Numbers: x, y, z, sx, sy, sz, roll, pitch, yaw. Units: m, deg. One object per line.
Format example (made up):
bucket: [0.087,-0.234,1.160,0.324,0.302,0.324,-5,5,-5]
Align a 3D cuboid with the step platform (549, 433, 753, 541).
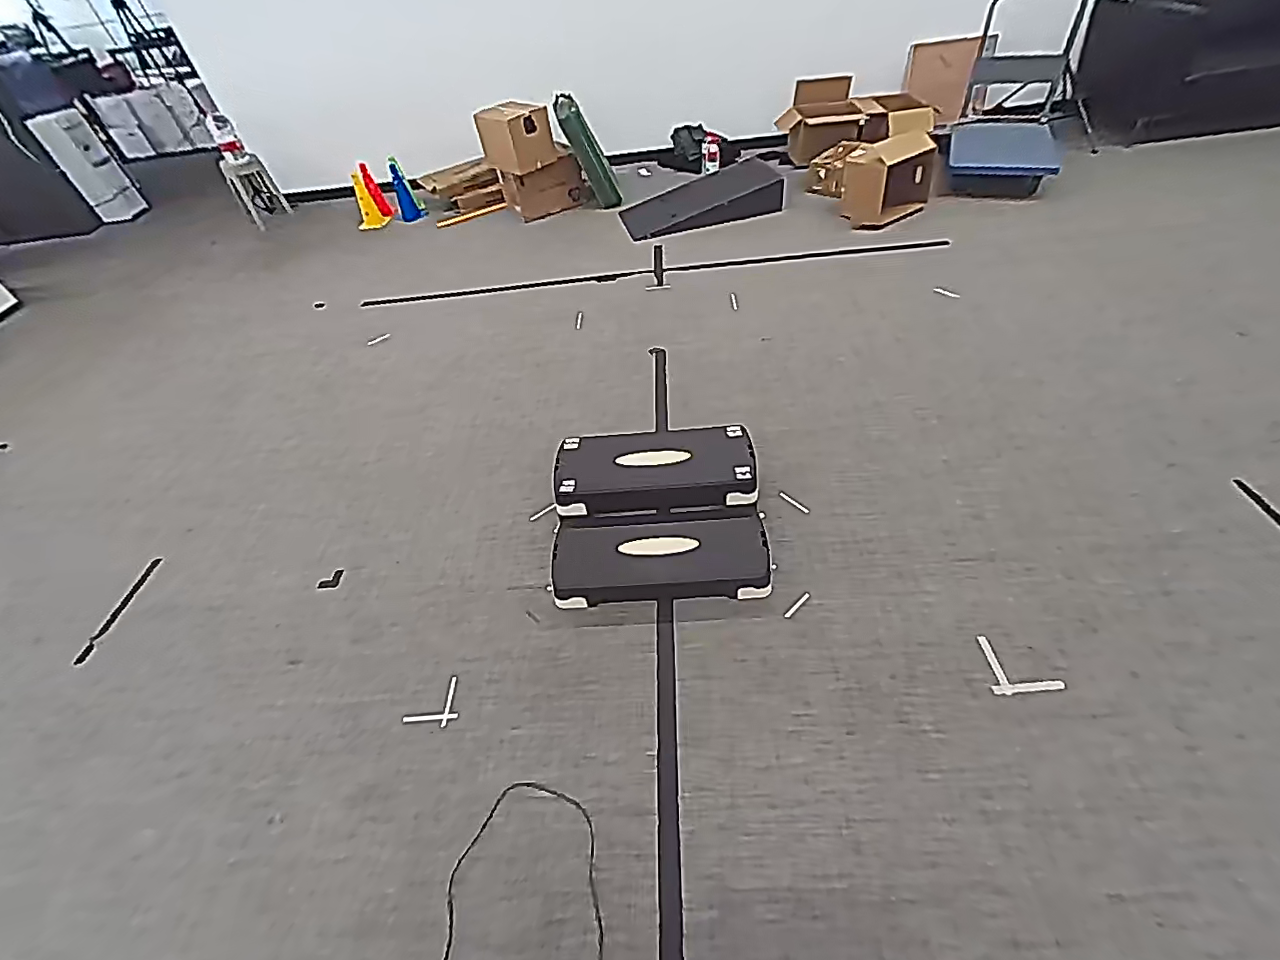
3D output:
step platform: [0.037,0.019,1.839,0.684,0.204,0.286,-4,47,3]
